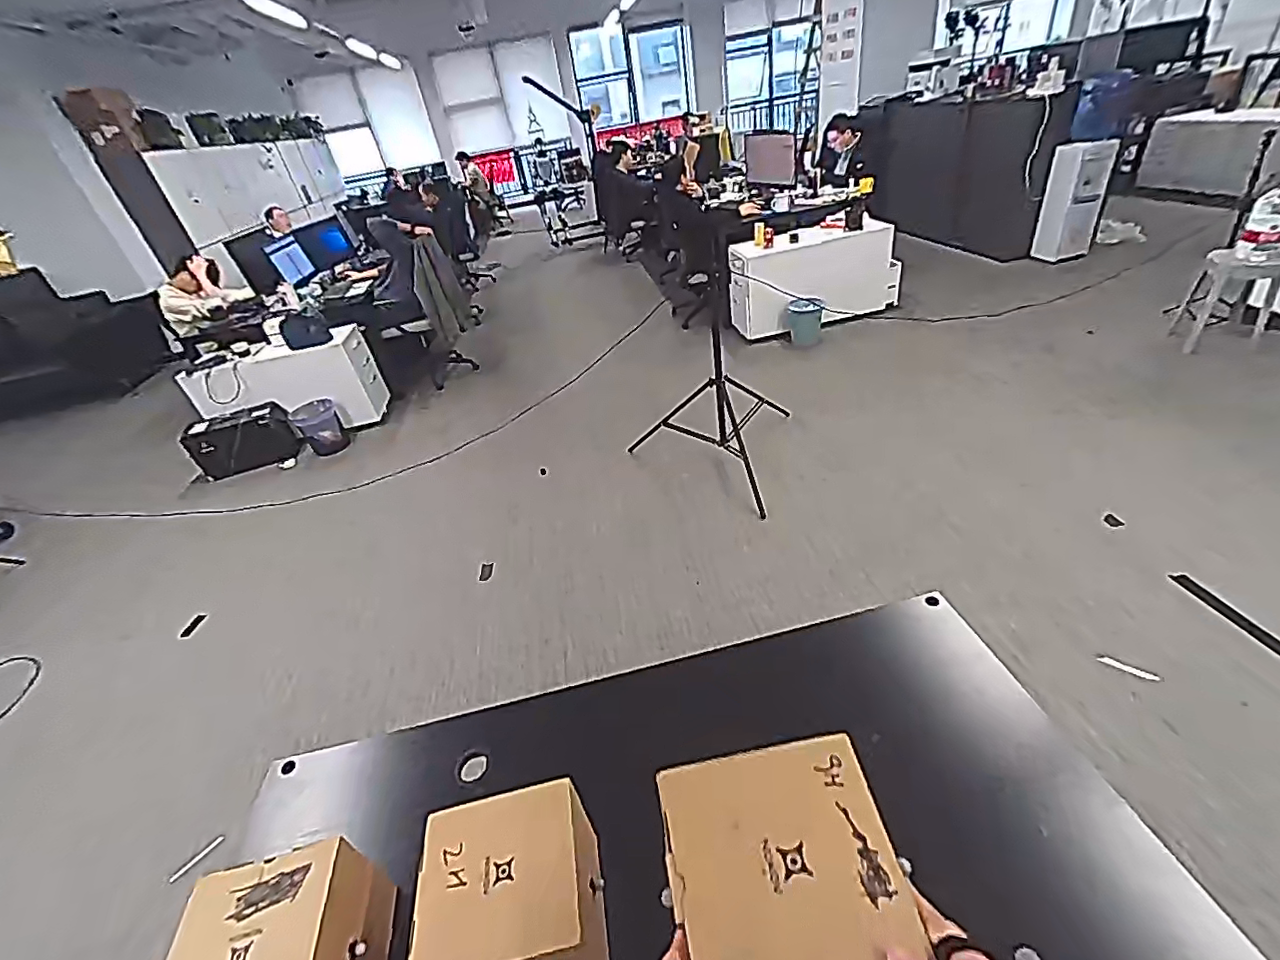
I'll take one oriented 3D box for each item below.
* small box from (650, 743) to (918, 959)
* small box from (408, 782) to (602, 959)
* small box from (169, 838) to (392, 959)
[{"bbox_3d":[0.115,0.365,0.491,0.179,0.176,0.168,-11,48,-1],"label":"small box"},{"bbox_3d":[-0.146,0.496,0.637,0.179,0.176,0.168,-13,34,-4],"label":"small box"},{"bbox_3d":[-0.405,0.558,0.618,0.168,0.176,0.179,-14,36,-5],"label":"small box"}]
